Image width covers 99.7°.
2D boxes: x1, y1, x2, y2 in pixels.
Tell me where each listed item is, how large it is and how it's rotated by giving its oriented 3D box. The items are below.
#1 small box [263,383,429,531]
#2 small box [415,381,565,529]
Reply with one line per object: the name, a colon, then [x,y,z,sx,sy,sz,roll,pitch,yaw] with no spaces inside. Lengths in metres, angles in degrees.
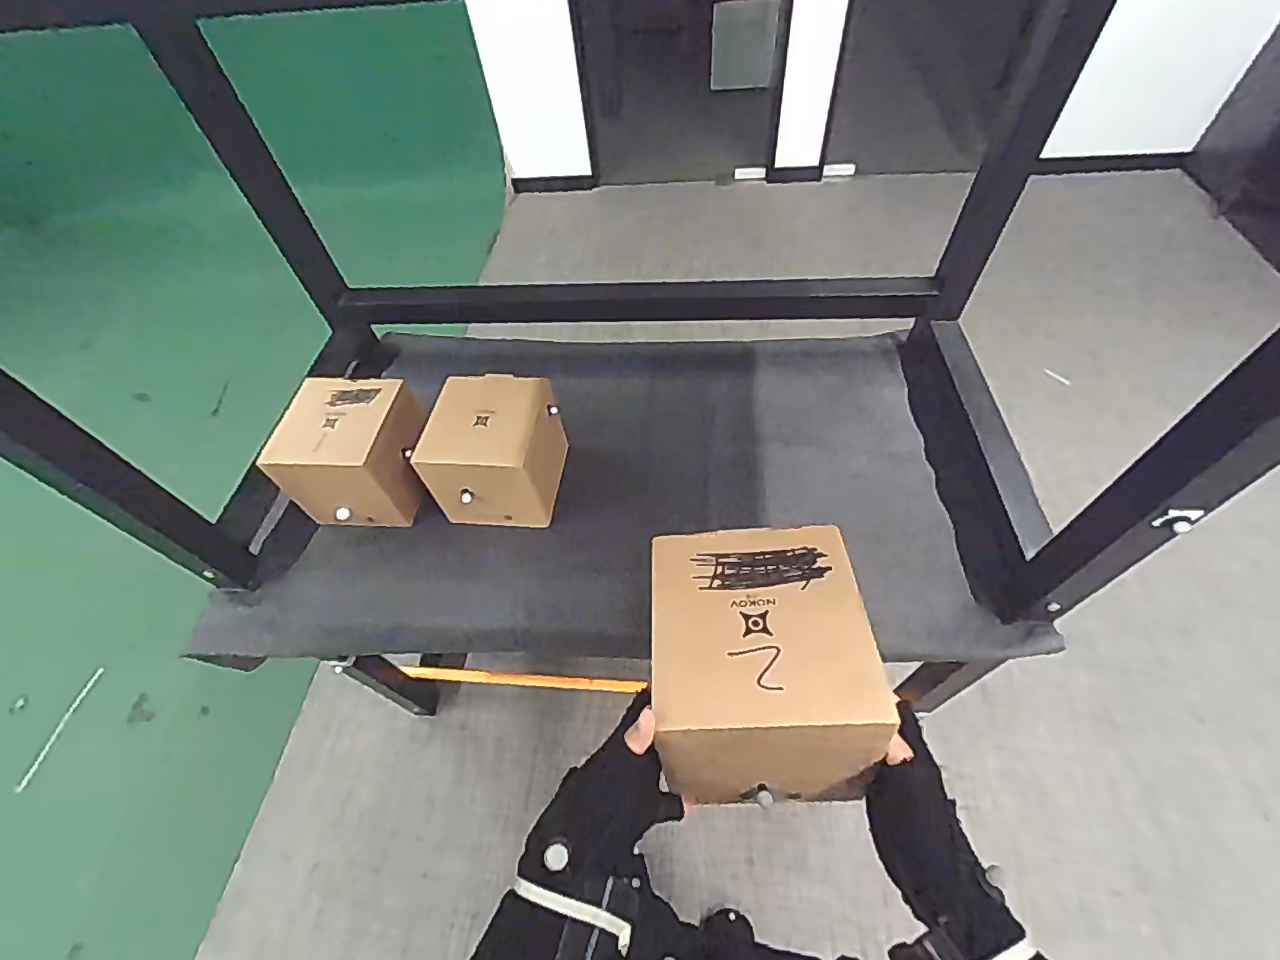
small box: [-0.451,-0.037,0.882,0.168,0.176,0.179,1,54,6]
small box: [-0.224,-0.037,0.865,0.168,0.176,0.179,2,53,7]
